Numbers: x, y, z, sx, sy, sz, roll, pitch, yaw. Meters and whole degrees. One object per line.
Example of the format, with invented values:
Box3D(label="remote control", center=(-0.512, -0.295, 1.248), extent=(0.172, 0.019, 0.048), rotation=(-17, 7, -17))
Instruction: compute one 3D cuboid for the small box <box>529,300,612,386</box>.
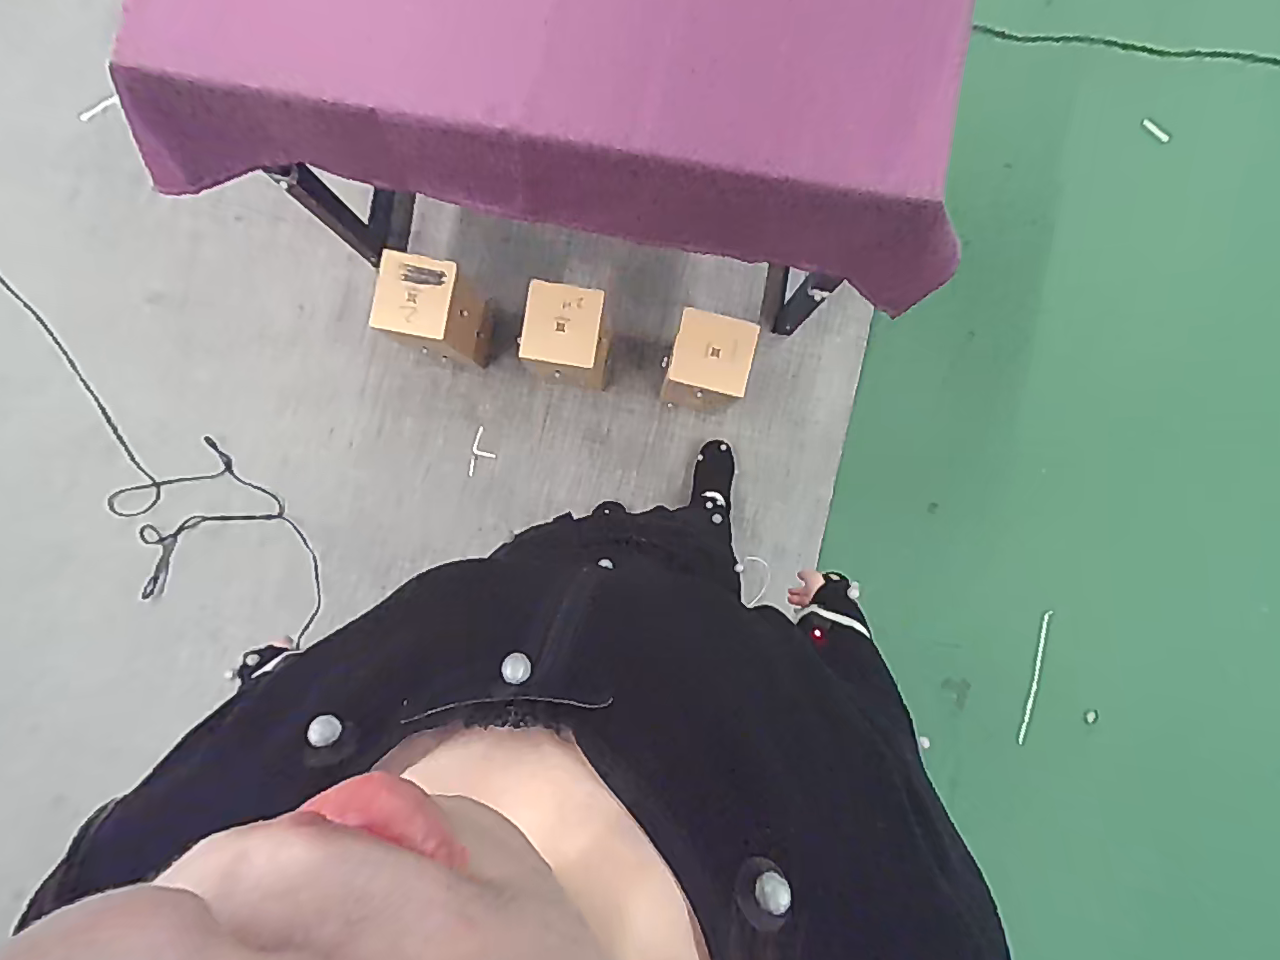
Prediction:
Box3D(label="small box", center=(-0.177, -0.354, 1.427), extent=(0.179, 0.176, 0.168), rotation=(11, 89, -1))
